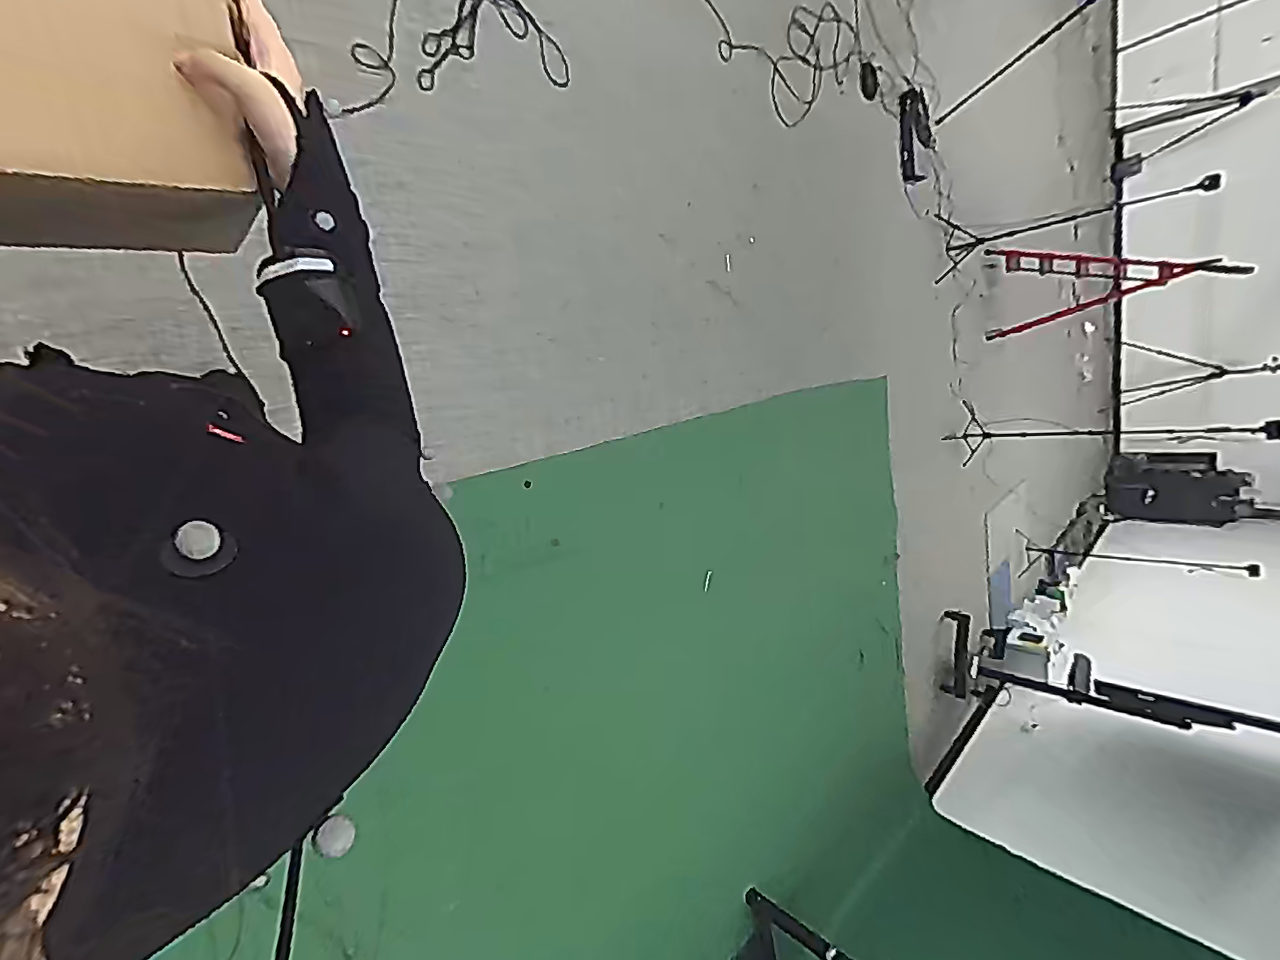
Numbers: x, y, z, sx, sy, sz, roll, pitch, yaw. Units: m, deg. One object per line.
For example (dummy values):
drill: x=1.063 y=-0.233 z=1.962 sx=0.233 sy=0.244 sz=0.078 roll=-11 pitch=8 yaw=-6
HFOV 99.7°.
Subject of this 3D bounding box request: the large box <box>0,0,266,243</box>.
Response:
large box: x=-0.550 y=-0.354 z=0.381 sx=0.408 sy=0.320 sz=0.320 roll=-16 pitch=110 yaw=-36
